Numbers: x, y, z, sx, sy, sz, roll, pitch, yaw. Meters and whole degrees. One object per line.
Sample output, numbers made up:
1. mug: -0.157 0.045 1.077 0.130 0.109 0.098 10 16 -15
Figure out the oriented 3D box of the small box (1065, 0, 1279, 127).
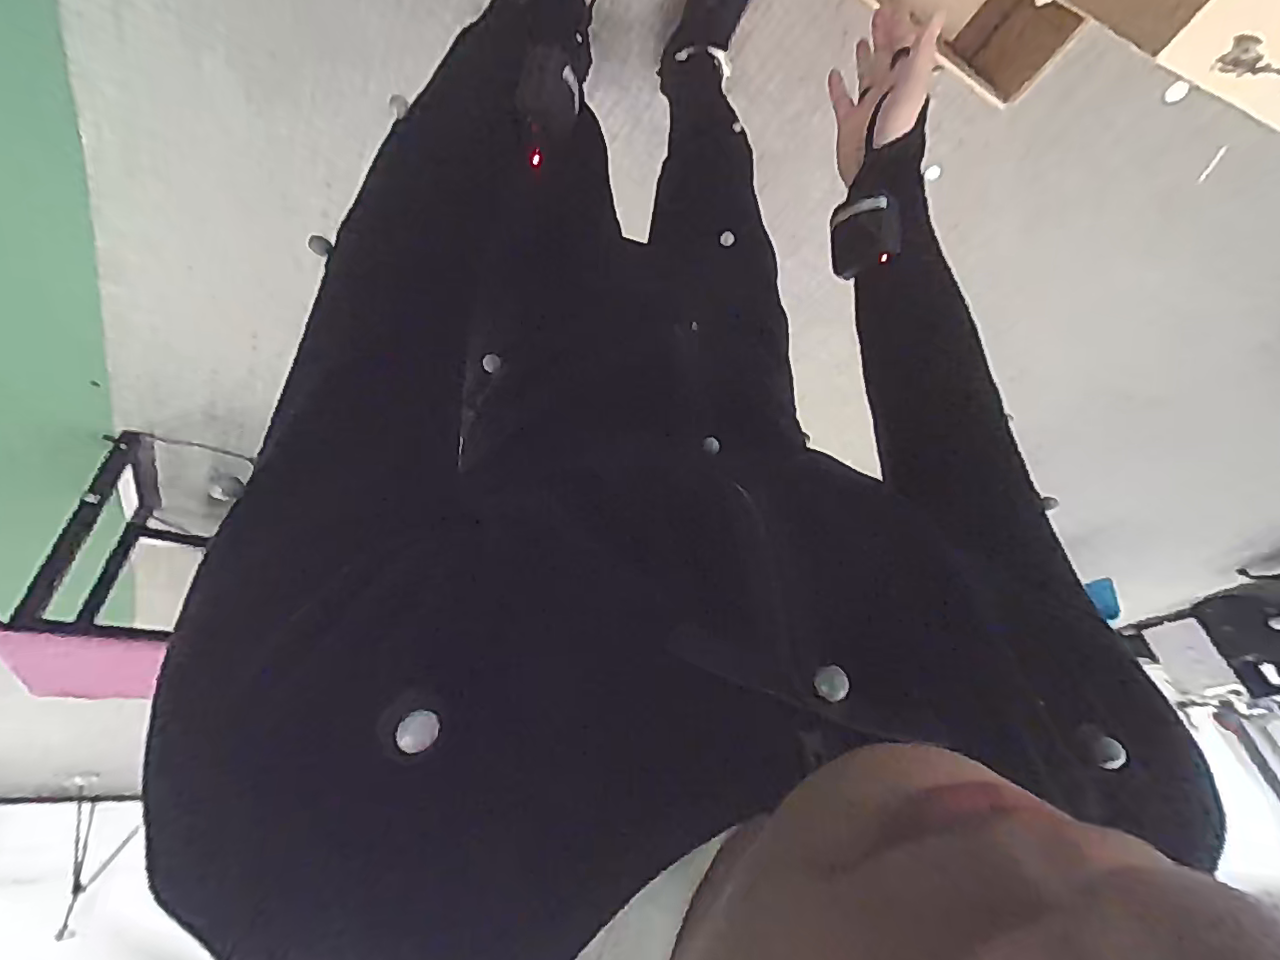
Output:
1. small box: 0.467 -0.396 0.382 0.168 0.176 0.179 8 143 -18
